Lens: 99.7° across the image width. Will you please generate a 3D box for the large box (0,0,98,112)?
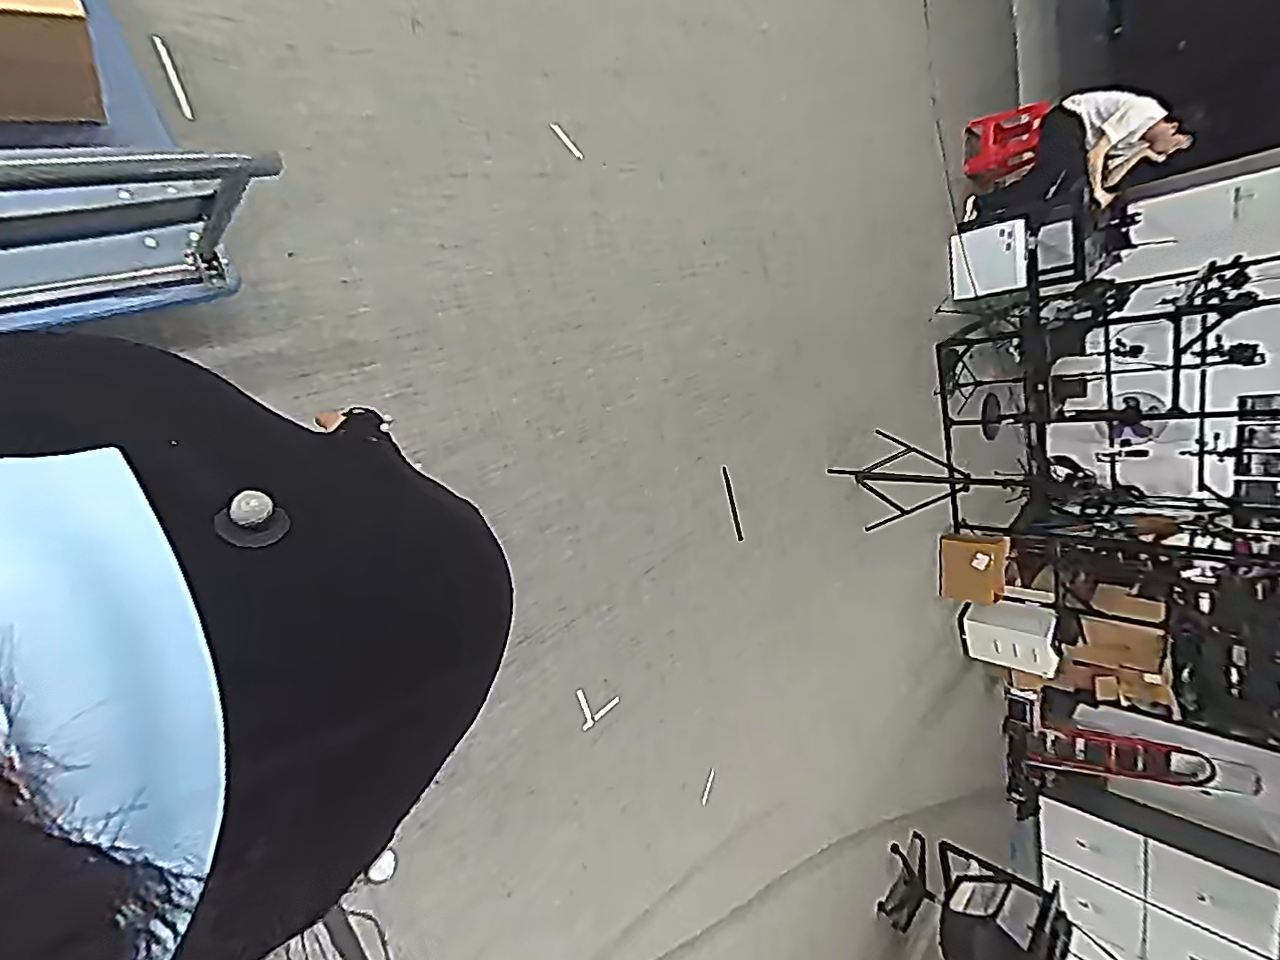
[{"bbox_3d":[-1.025,-0.693,0.671,0.408,0.320,0.320,-29,110,-36],"label":"large box"}]
